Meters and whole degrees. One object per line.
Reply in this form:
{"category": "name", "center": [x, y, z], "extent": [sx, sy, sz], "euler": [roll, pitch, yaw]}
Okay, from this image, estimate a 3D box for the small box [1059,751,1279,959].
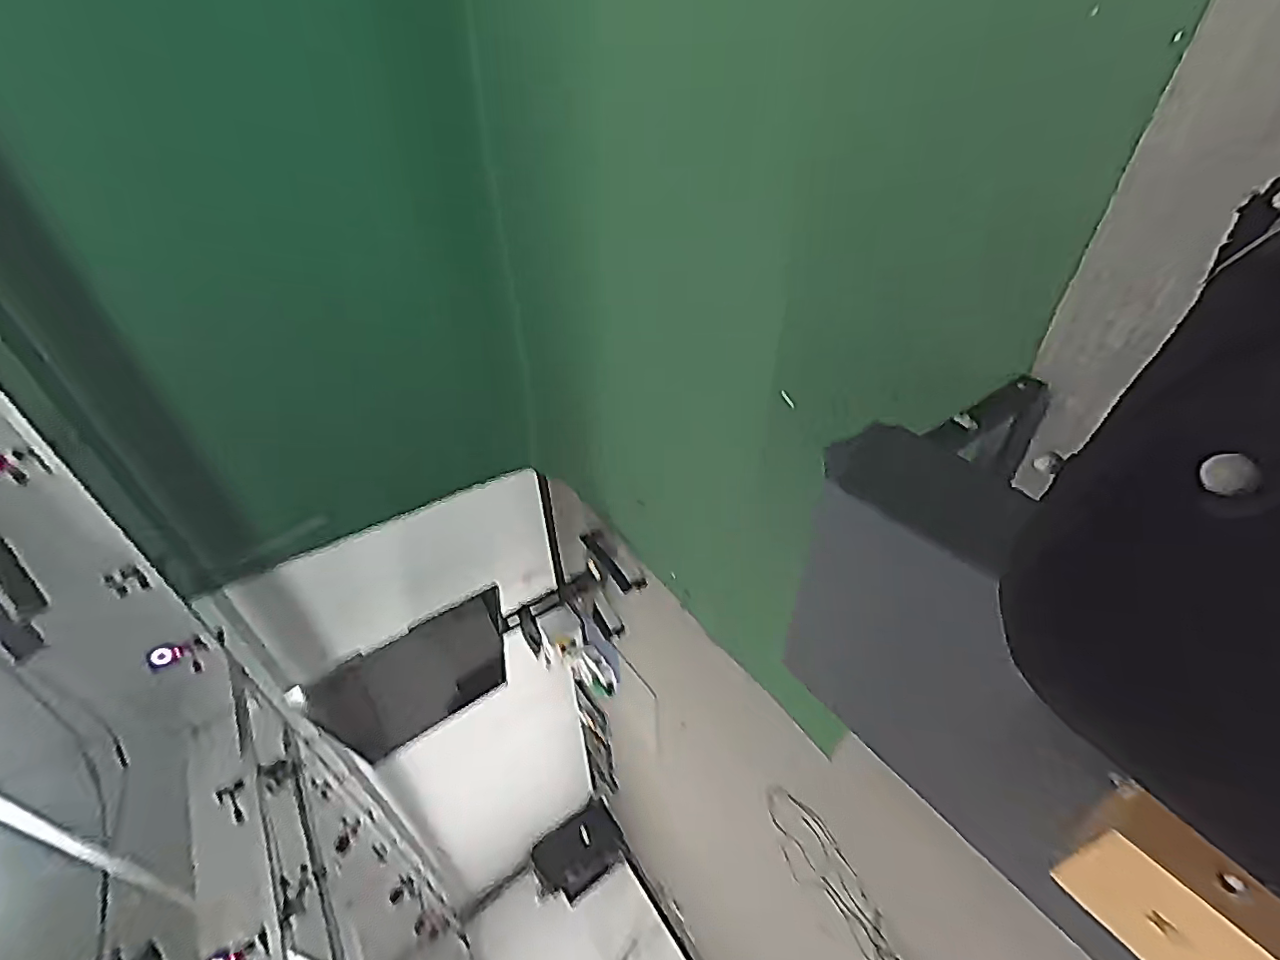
{"category": "small box", "center": [0.673, 0.475, 0.652], "extent": [0.179, 0.176, 0.168], "euler": [41, 145, 41]}
